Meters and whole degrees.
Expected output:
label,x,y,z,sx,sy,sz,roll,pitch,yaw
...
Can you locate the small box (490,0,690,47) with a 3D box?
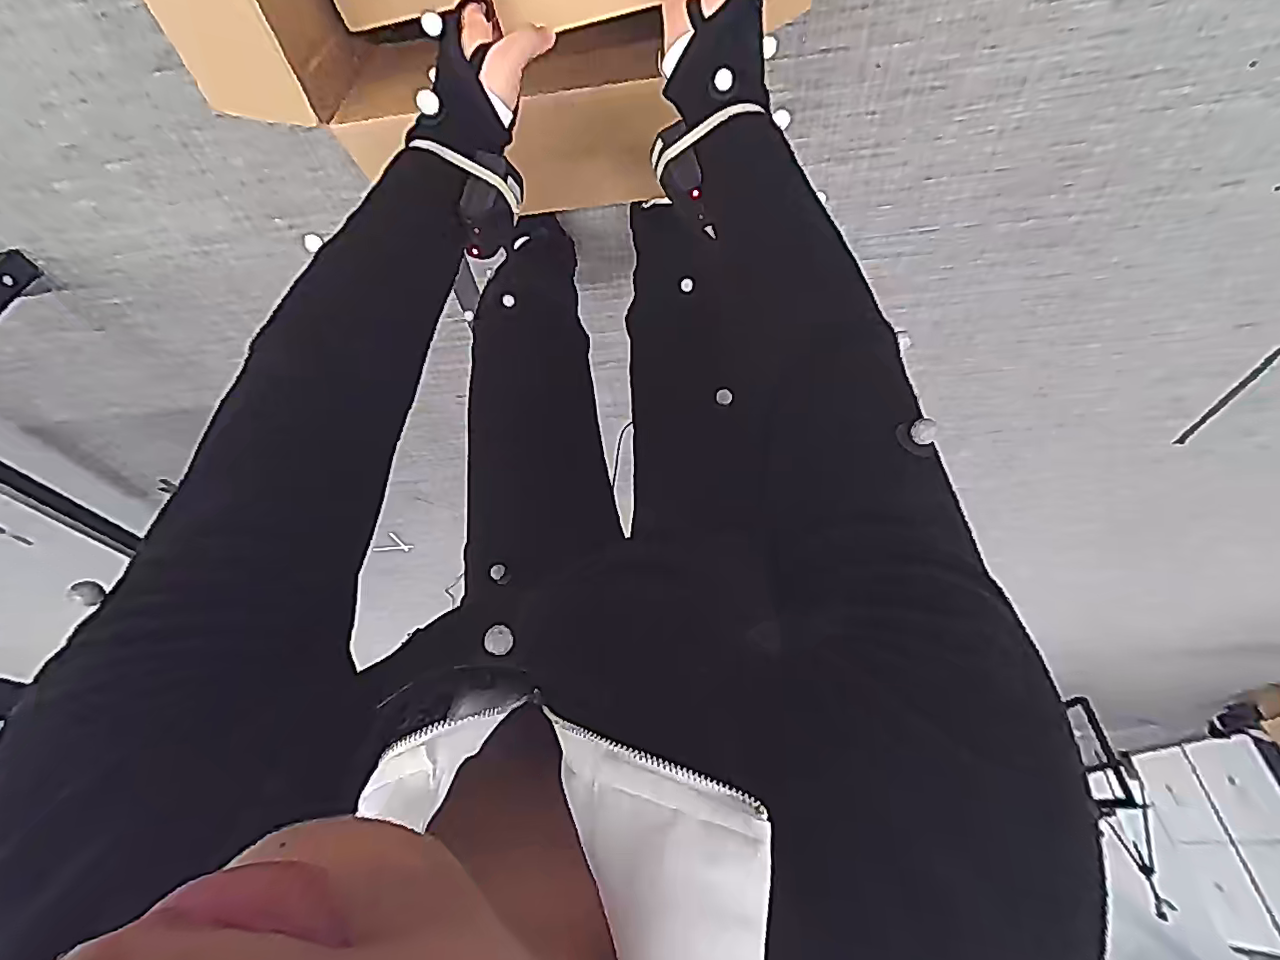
label,x,y,z,sx,sy,sz,roll,pitch,yaw
small box,-0.051,-0.494,0.434,0.168,0.176,0.179,-7,141,8
